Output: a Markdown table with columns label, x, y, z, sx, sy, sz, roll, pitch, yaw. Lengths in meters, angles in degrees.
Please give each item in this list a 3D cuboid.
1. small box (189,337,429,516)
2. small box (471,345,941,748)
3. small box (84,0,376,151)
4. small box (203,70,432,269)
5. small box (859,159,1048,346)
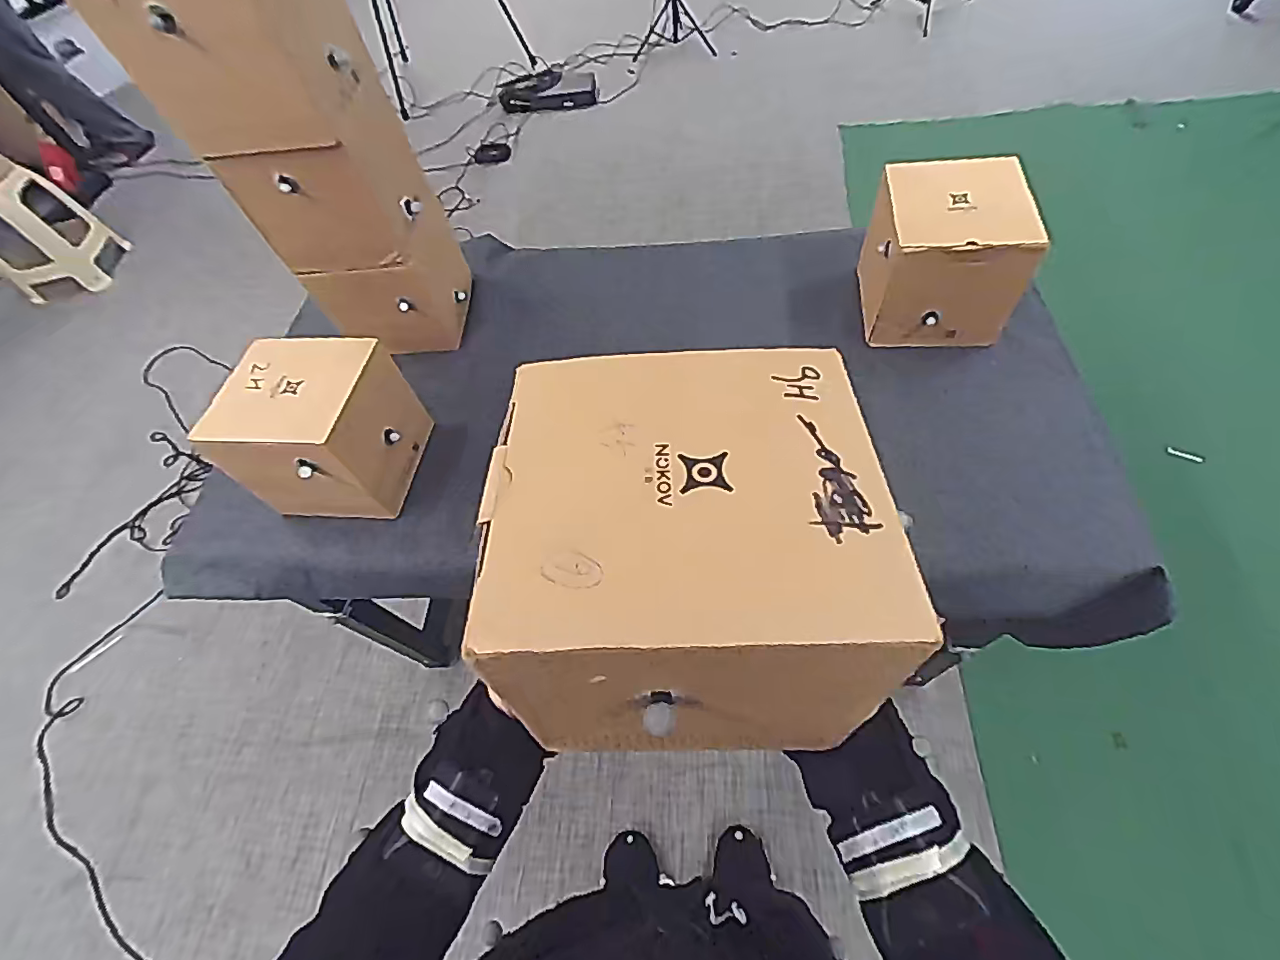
| label | x | y | z | sx | sy | sz | roll | pitch | yaw |
| --- | --- | --- | --- | --- | --- | --- | --- | --- | --- |
| small box | -0.404 | -0.064 | 0.701 | 0.179 | 0.176 | 0.168 | 2 | 57 | 8 |
| small box | 0.028 | 0.046 | 0.307 | 0.179 | 0.176 | 0.168 | -3 | 53 | 2 |
| small box | -0.420 | -0.475 | 0.571 | 0.179 | 0.176 | 0.168 | -1 | 61 | 5 |
| small box | -0.406 | -0.402 | 0.717 | 0.179 | 0.176 | 0.168 | -3 | 61 | 4 |
| small box | 0.410 | -0.308 | 0.745 | 0.168 | 0.176 | 0.179 | 2 | 61 | 9 |
